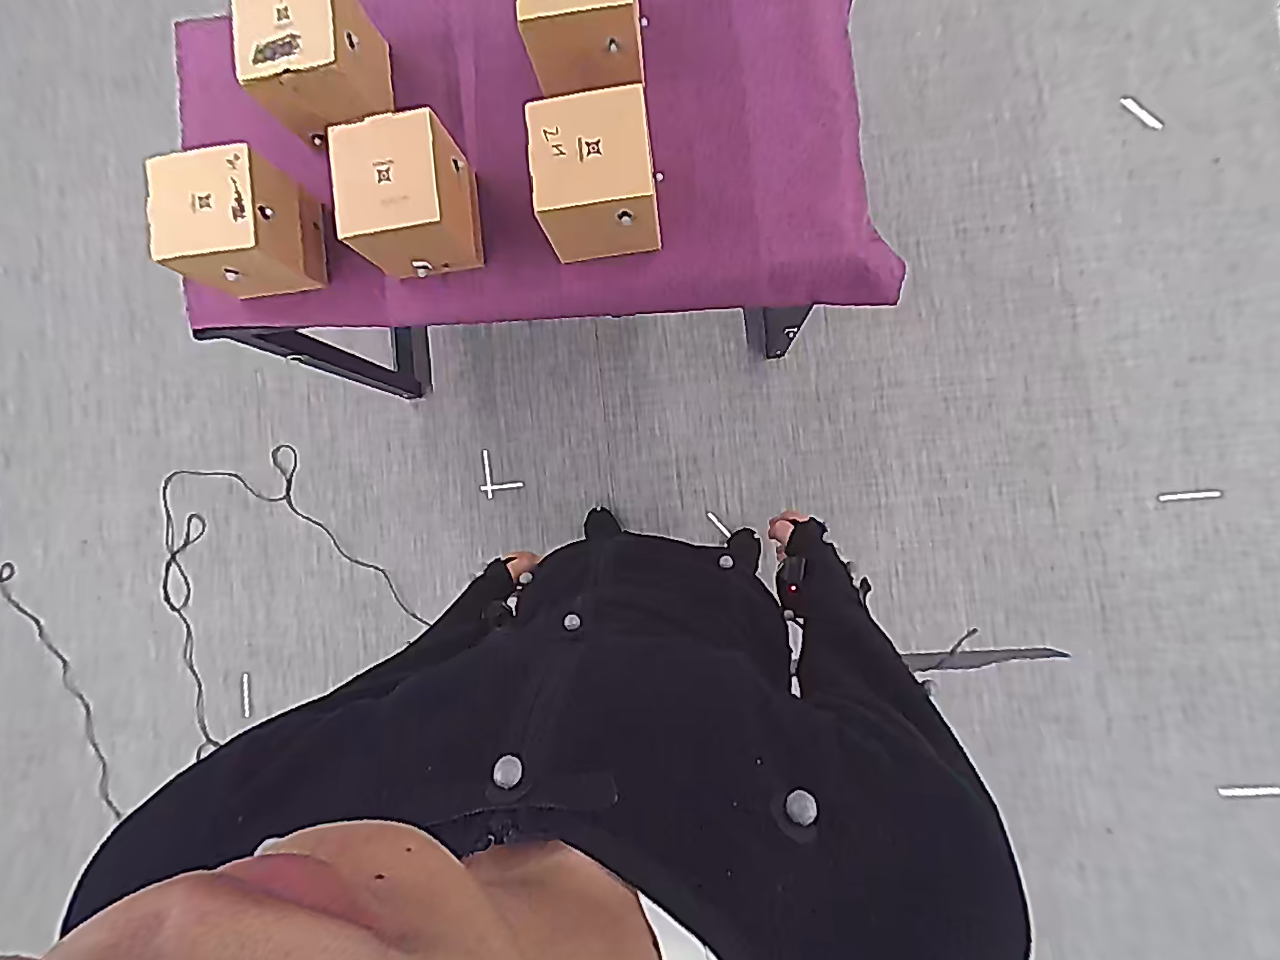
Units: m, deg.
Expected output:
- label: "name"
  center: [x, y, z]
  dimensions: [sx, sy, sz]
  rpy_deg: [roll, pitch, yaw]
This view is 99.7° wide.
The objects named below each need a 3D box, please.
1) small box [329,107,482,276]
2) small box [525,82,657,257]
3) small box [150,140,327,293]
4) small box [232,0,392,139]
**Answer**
- label: "small box"
  center: [-0.373, -0.460, 0.886]
  dimensions: [0.168, 0.176, 0.179]
  rpy_deg: [-6, 90, 6]
- label: "small box"
  center: [-0.067, -0.474, 0.851]
  dimensions: [0.179, 0.176, 0.168]
  rpy_deg: [-6, 87, 6]
- label: "small box"
  center: [-0.667, -0.430, 0.912]
  dimensions: [0.179, 0.176, 0.168]
  rpy_deg: [-5, 89, 6]
- label: "small box"
  center: [-0.539, -0.708, 0.909]
  dimensions: [0.168, 0.176, 0.179]
  rpy_deg: [-6, 88, 5]
